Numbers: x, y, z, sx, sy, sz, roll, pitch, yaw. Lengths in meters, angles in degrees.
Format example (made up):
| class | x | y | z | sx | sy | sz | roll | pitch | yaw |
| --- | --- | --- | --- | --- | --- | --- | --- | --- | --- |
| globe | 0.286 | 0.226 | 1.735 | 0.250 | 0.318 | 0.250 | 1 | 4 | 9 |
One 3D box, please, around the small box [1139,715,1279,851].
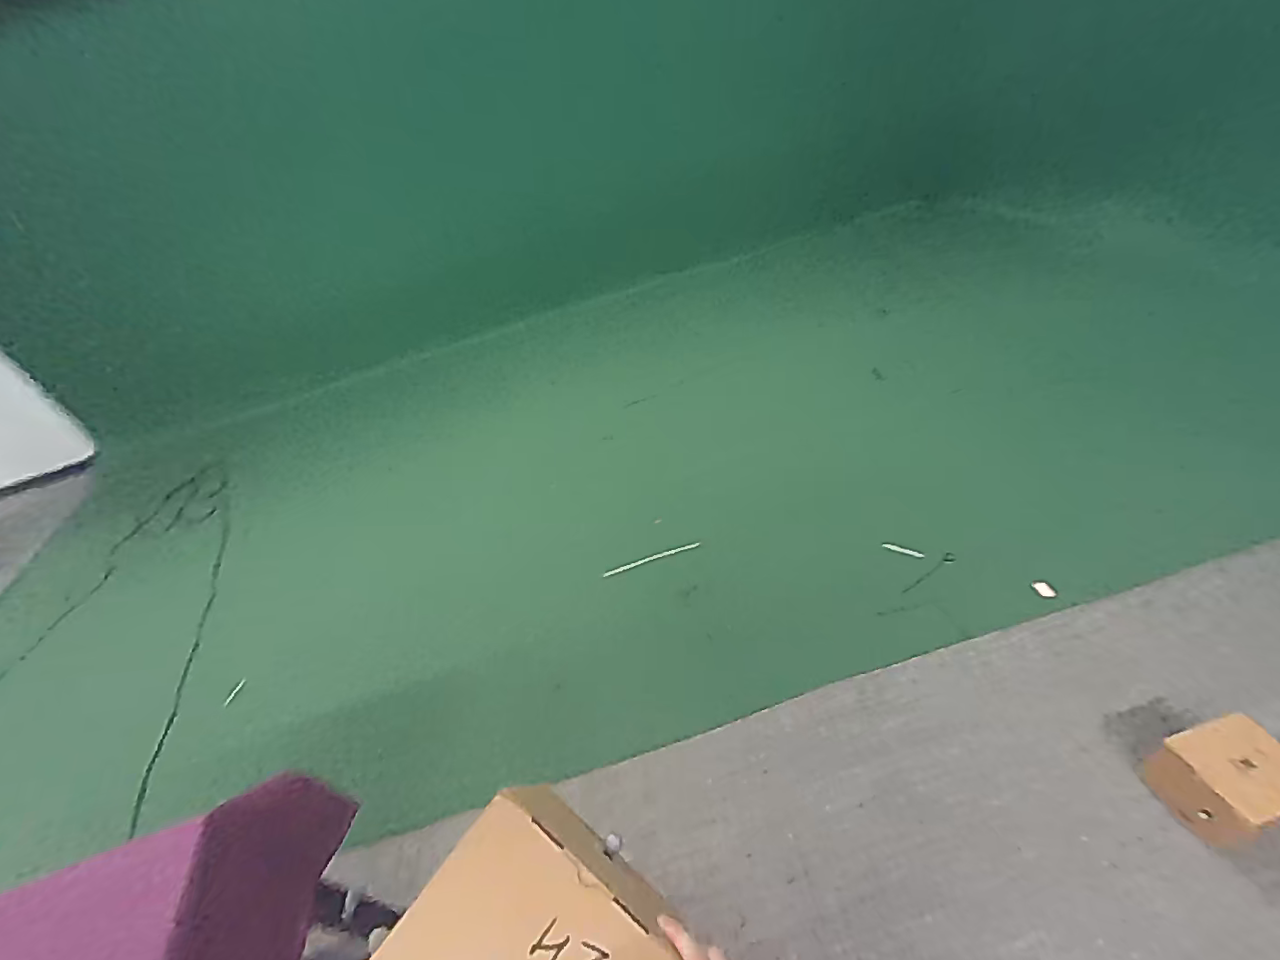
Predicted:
| class | x | y | z | sx | sy | sz | roll | pitch | yaw |
| --- | --- | --- | --- | --- | --- | --- | --- | --- | --- |
| small box | 1.165 | 0.612 | 1.087 | 0.179 | 0.176 | 0.168 | -19 | 41 | -2 |
